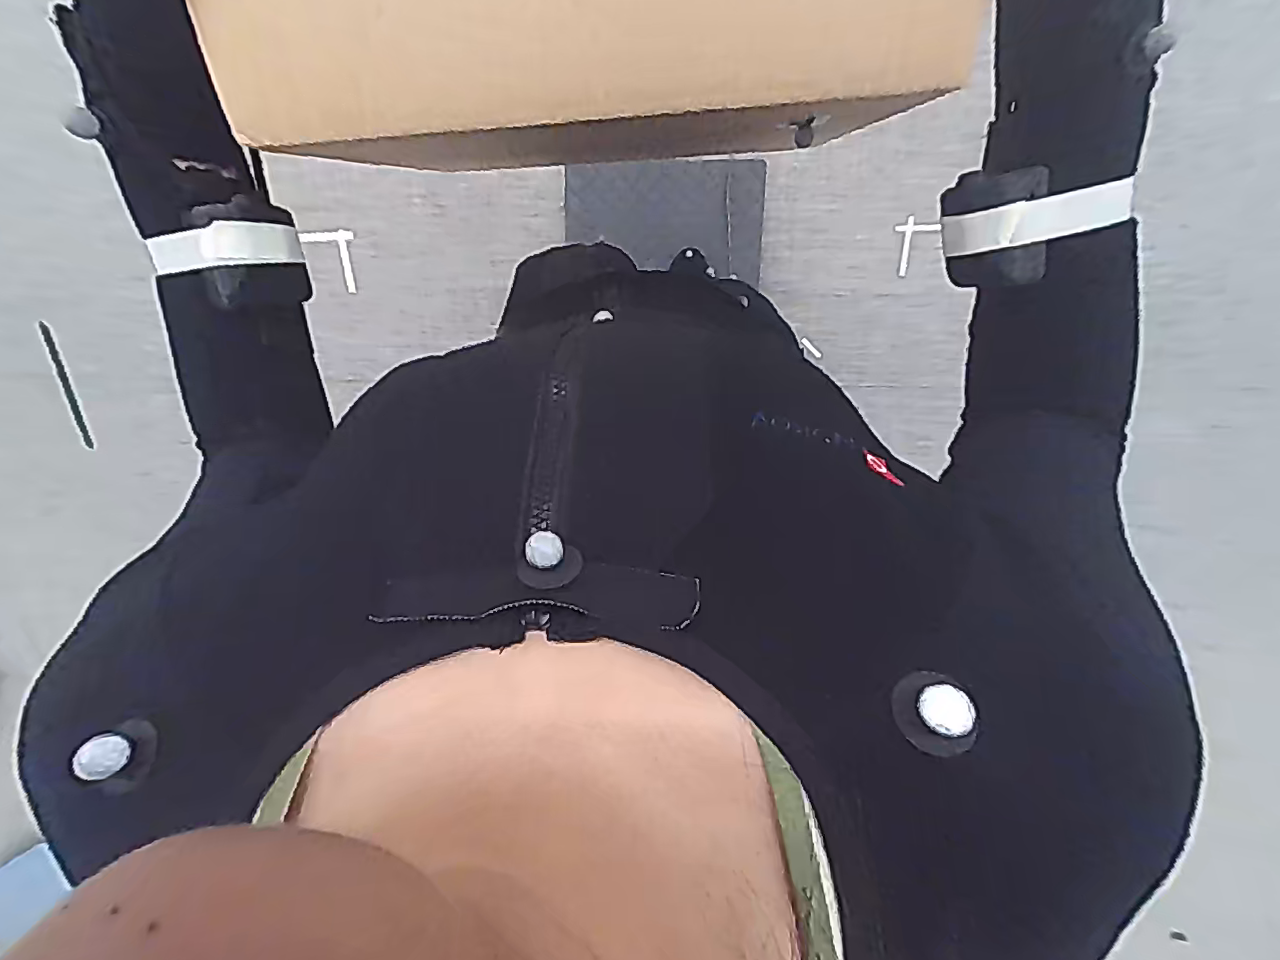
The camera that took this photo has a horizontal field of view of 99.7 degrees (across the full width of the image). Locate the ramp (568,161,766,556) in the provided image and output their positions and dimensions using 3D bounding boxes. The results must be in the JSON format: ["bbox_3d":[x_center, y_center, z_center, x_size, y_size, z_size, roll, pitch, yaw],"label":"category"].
[{"bbox_3d":[0.051,-0.288,1.417,0.509,0.206,0.991,1,110,6],"label":"ramp"}]

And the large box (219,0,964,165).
[{"bbox_3d":[-0.029,-0.414,0.371,0.408,0.320,0.320,-2,117,5],"label":"large box"}]
